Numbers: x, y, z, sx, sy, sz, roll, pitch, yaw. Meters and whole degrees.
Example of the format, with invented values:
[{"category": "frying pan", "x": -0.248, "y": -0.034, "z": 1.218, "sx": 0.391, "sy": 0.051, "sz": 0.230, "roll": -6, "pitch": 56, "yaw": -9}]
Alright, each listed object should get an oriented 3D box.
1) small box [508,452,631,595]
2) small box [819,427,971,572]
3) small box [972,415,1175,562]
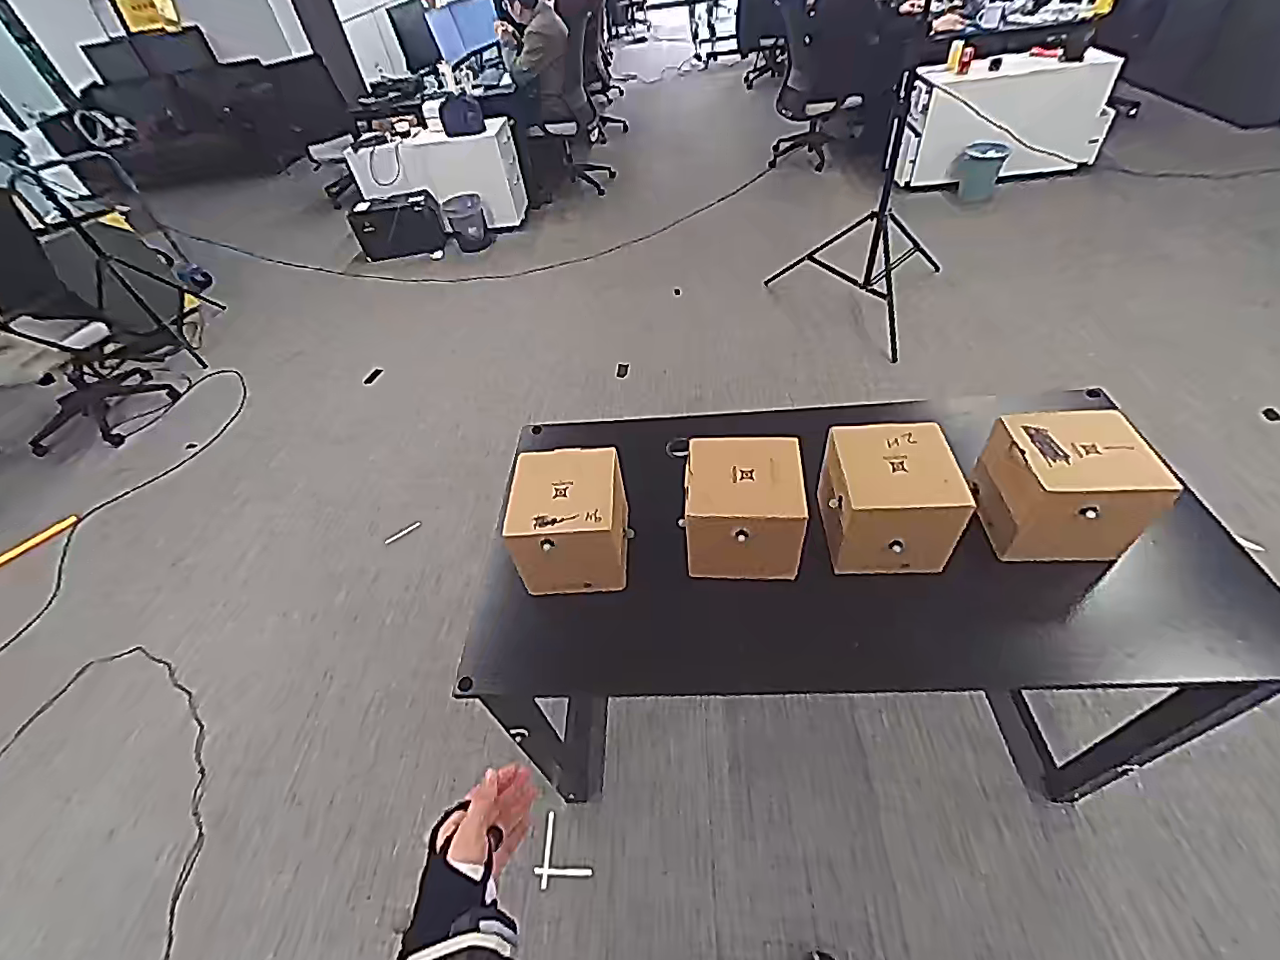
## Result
[{"category": "small box", "x": -0.107, "y": 0.075, "z": 0.914, "sx": 0.168, "sy": 0.176, "sz": 0.179, "roll": -4, "pitch": 47, "yaw": 5}, {"category": "small box", "x": 0.395, "y": 0.037, "z": 0.873, "sx": 0.168, "sy": 0.176, "sz": 0.179, "roll": -2, "pitch": 47, "yaw": 7}, {"category": "small box", "x": 0.654, "y": 0.017, "z": 0.851, "sx": 0.179, "sy": 0.176, "sz": 0.168, "roll": -1, "pitch": 47, "yaw": 7}]
